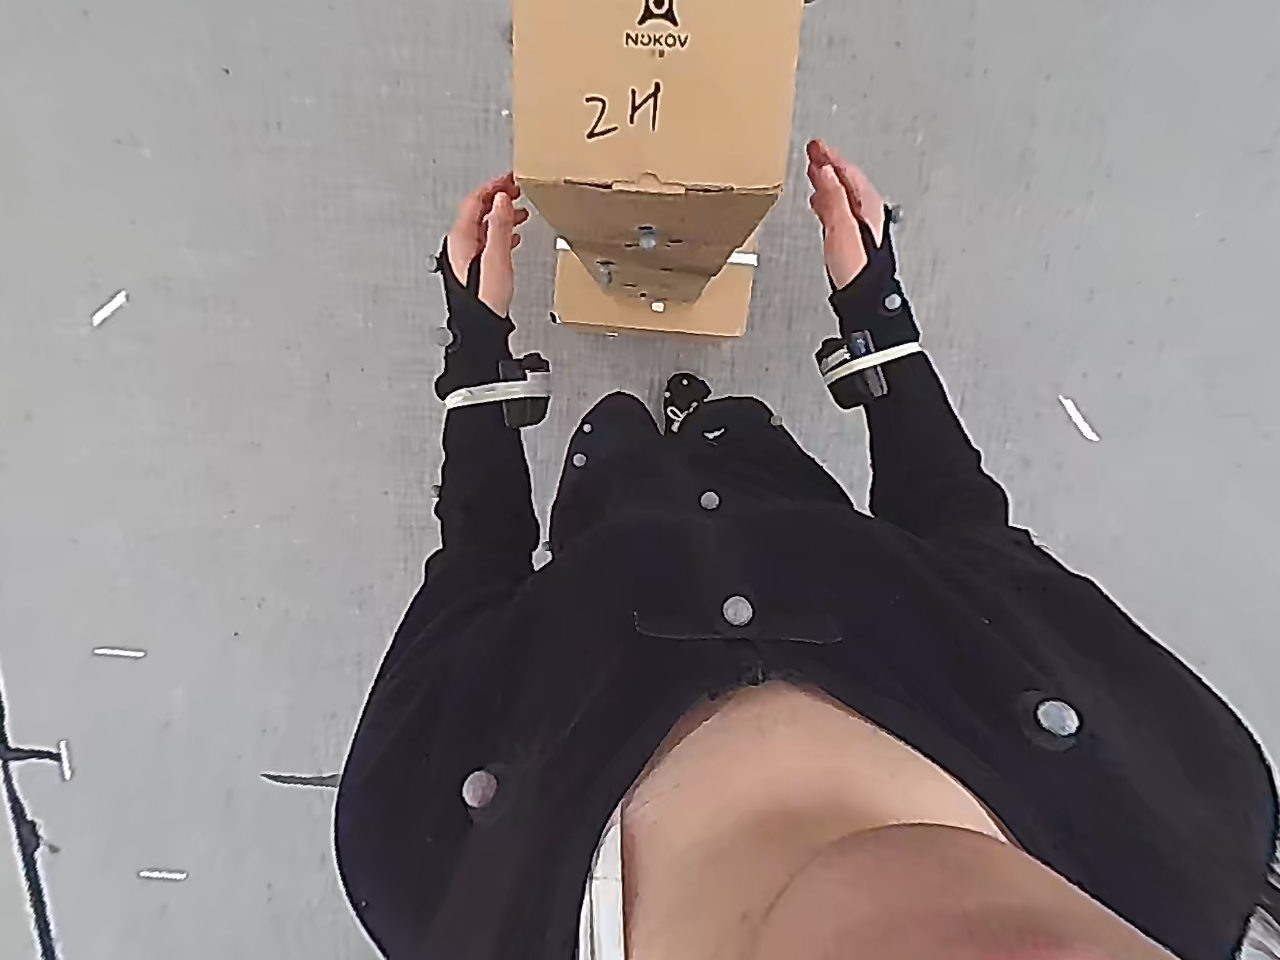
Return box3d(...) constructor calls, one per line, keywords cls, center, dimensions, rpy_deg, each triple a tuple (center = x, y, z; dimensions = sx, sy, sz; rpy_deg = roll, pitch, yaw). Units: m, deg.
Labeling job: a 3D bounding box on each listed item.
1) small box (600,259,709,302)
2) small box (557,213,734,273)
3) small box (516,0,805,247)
box3d(cls="small box", center=(0.027, -0.390, 0.866), dimensions=(0.168, 0.176, 0.179), rpy_deg=(4, 103, 1))
box3d(cls="small box", center=(0.018, -0.317, 0.546), dimensions=(0.168, 0.176, 0.179), rpy_deg=(6, 102, 0))
box3d(cls="small box", center=(0.014, -0.281, 0.386), dimensions=(0.168, 0.176, 0.179), rpy_deg=(4, 103, 1))
